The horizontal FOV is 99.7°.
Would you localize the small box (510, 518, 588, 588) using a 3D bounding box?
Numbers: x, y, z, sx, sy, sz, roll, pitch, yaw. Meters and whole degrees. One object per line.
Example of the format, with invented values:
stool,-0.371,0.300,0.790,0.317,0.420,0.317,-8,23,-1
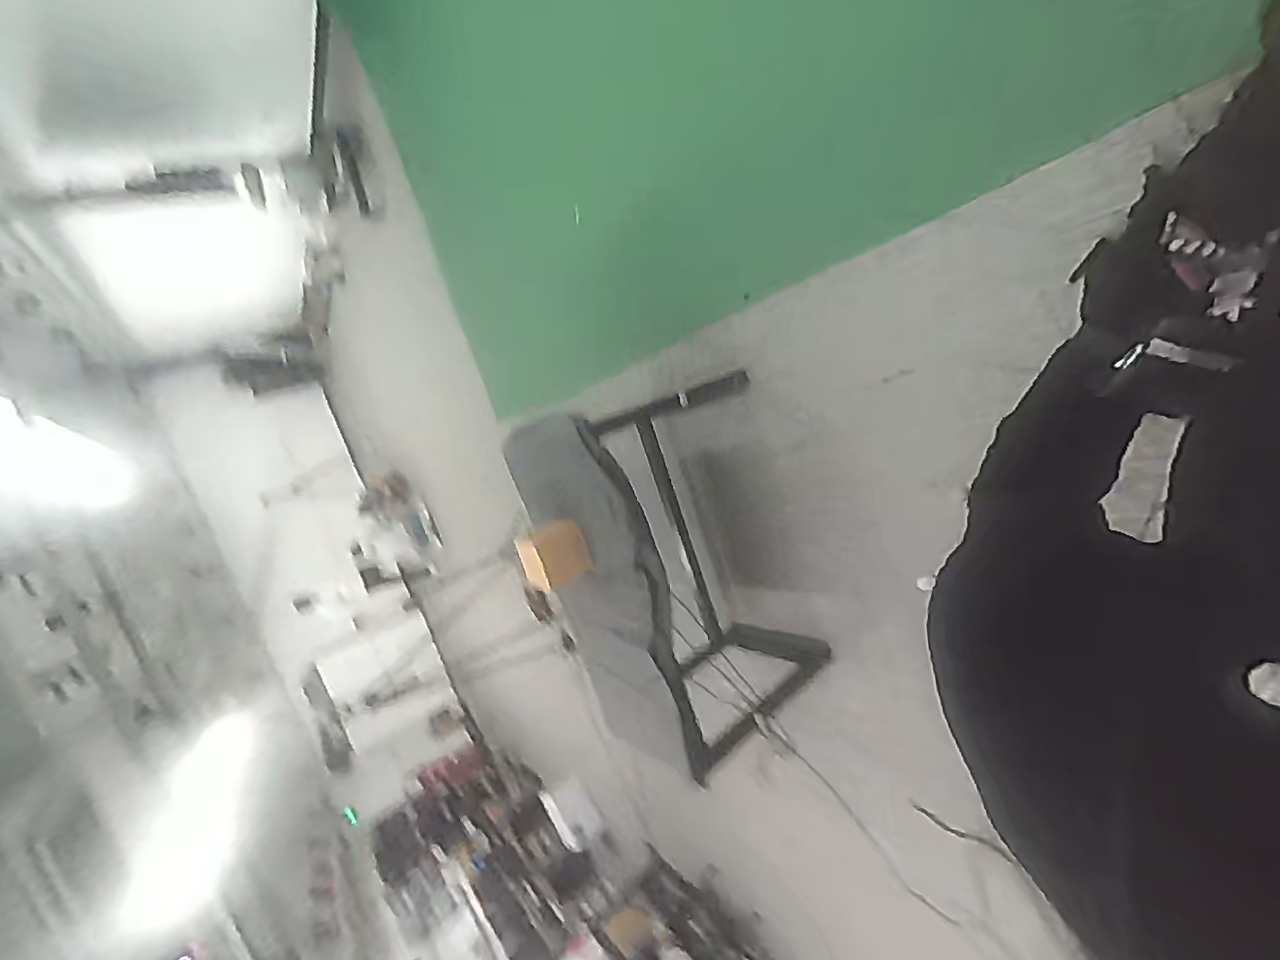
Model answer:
small box,-0.297,0.231,1.771,0.179,0.176,0.168,-1,109,55
